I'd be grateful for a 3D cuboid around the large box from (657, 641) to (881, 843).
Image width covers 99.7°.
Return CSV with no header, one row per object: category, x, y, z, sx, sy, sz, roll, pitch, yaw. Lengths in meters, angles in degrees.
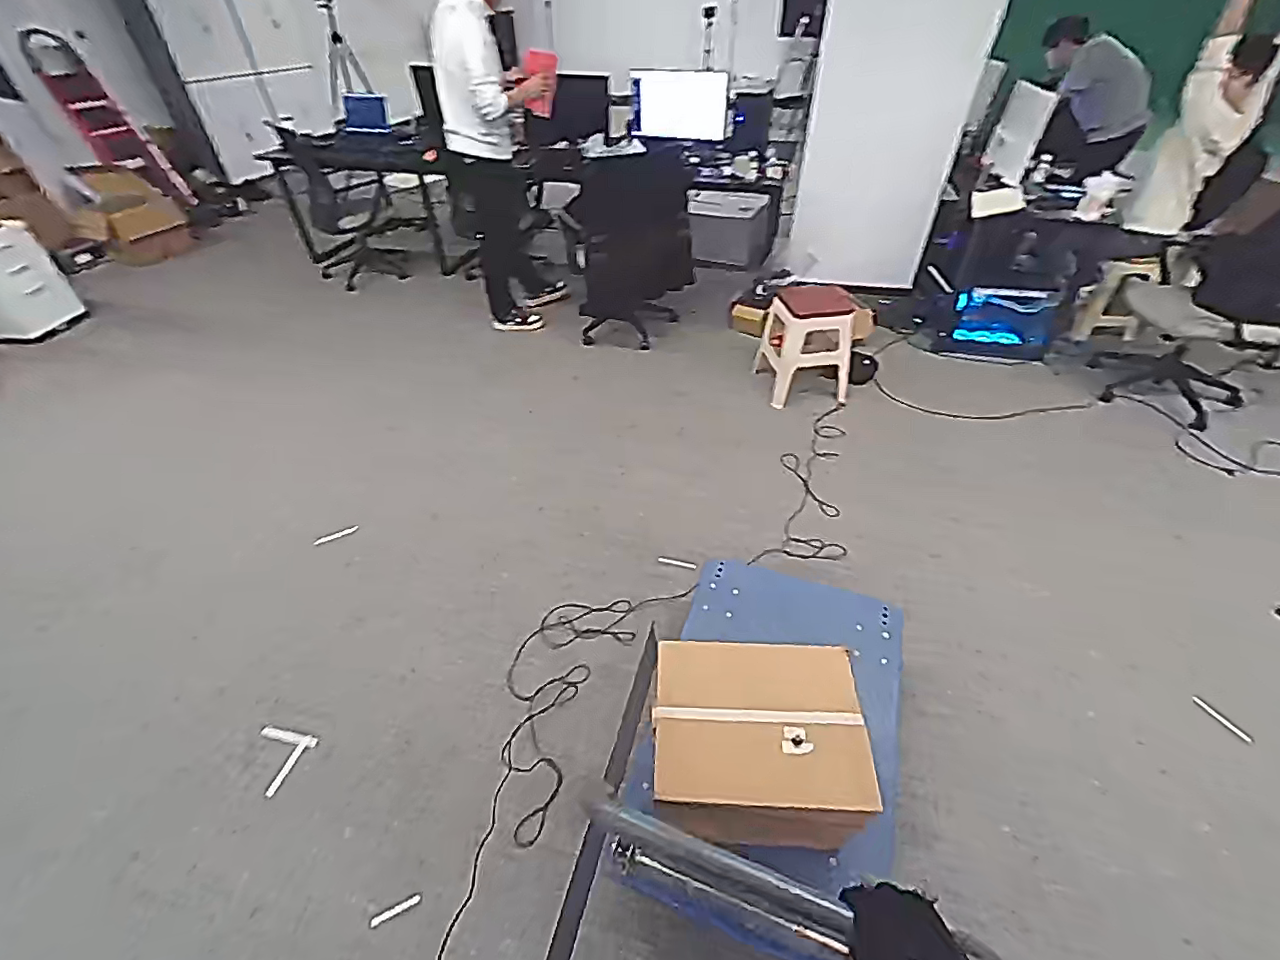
large box,0.239,0.568,1.173,0.408,0.320,0.320,1,46,3
